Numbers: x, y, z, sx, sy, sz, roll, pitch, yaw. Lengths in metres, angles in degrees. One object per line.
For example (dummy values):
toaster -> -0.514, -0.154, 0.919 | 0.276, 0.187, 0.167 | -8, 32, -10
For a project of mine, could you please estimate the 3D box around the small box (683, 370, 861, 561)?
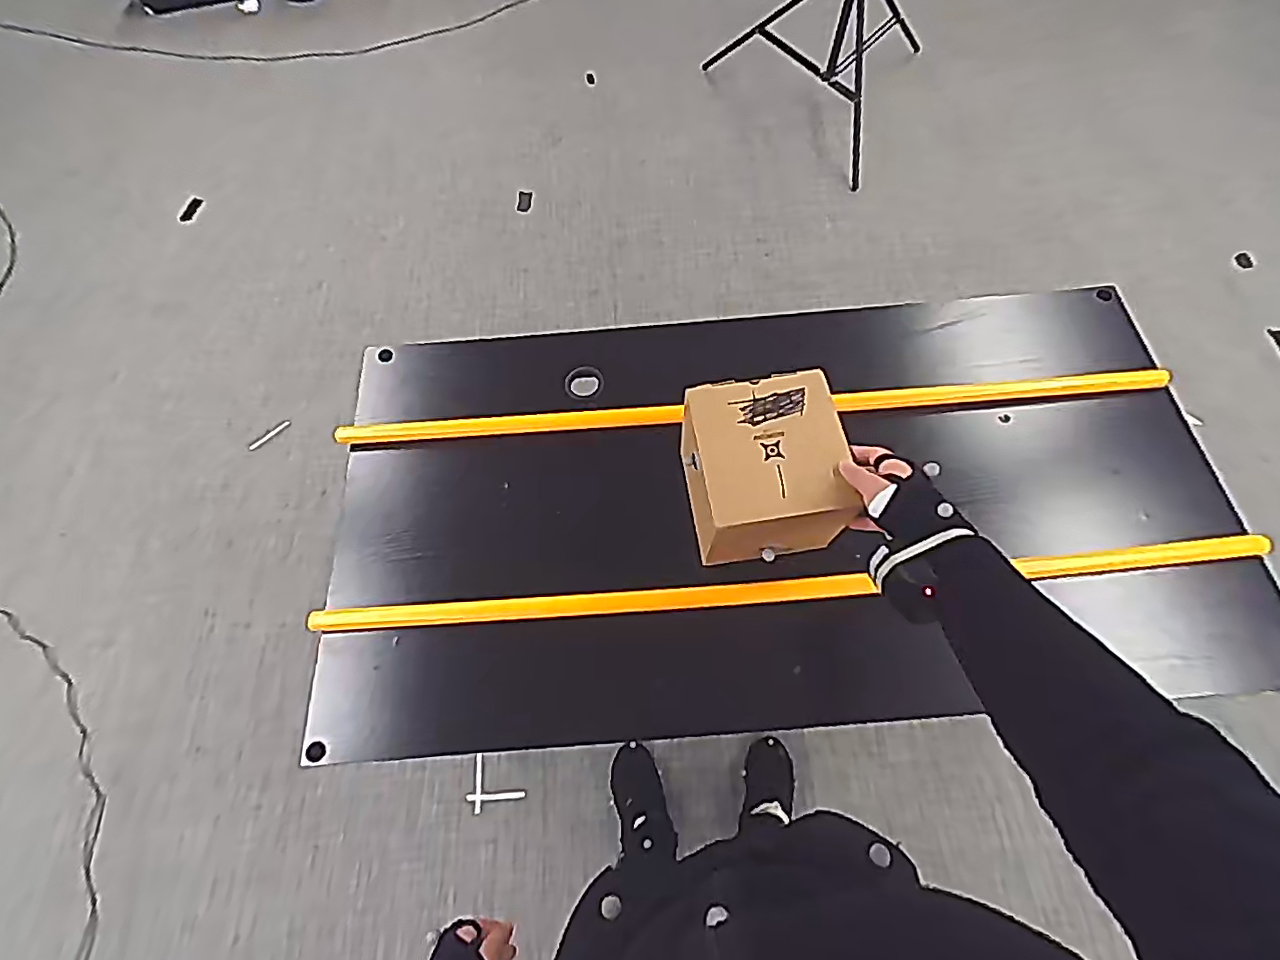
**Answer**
small box -> 0.149, -0.011, 0.683 | 0.168, 0.176, 0.179 | -9, 68, -1
